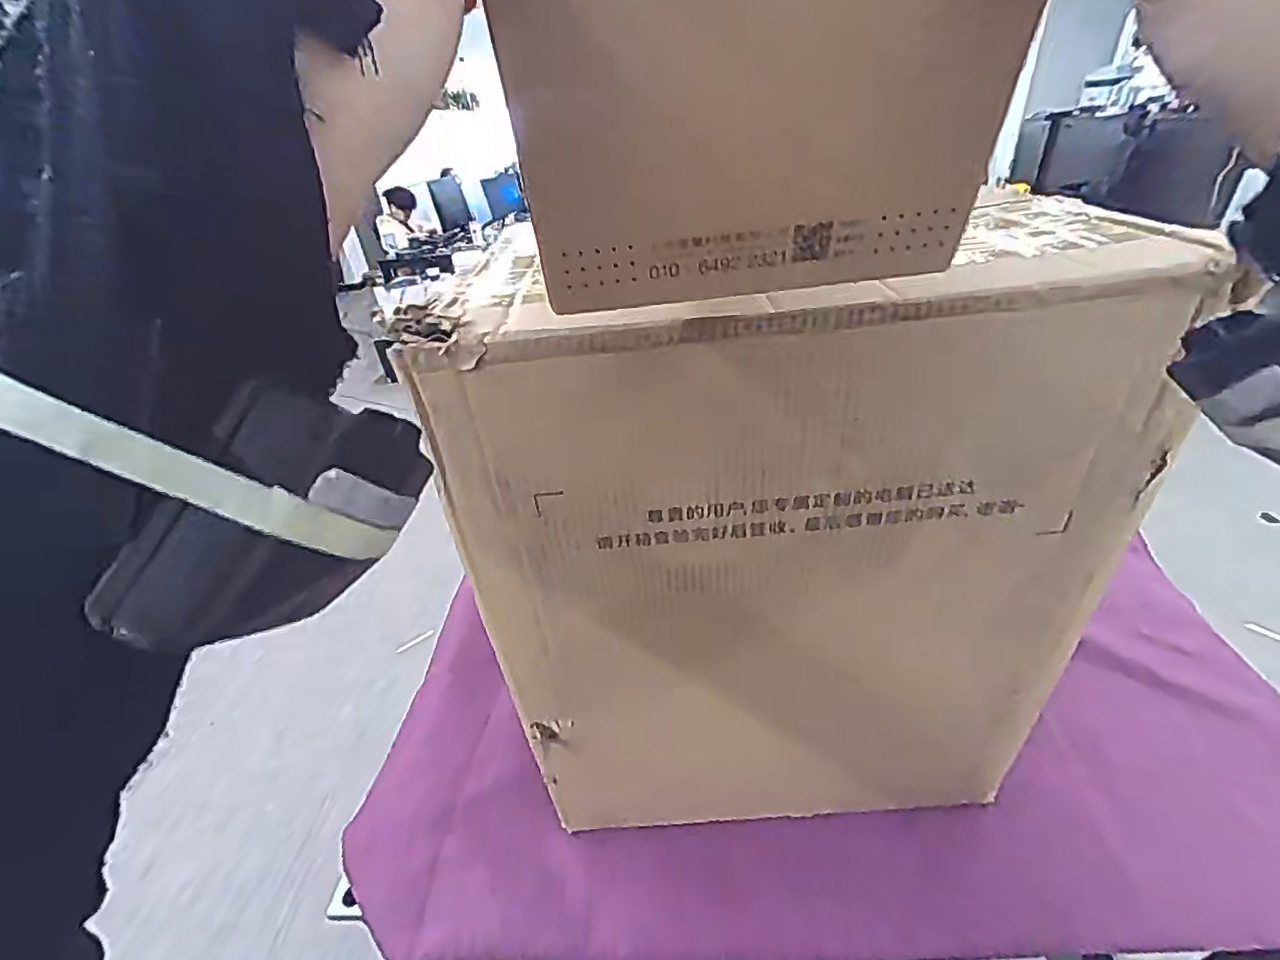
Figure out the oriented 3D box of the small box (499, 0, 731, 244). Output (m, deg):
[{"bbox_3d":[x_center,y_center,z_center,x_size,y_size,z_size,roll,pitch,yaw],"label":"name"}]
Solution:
[{"bbox_3d":[-0.015,-0.325,0.503,0.179,0.176,0.168,-5,34,-1],"label":"small box"}]
